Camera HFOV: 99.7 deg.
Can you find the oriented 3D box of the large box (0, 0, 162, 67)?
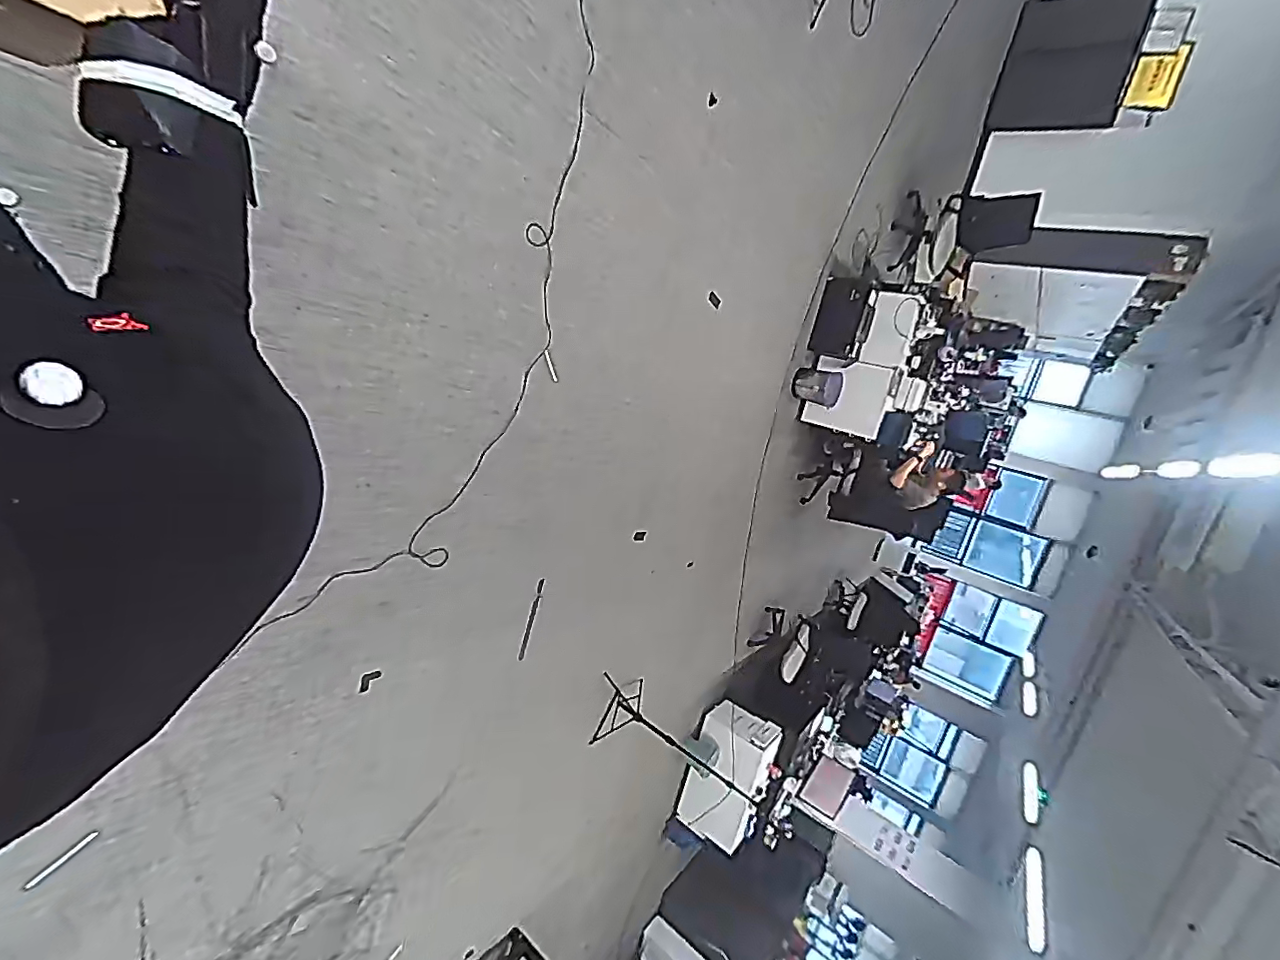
[{"bbox_3d":[-0.516,-0.457,0.234,0.408,0.320,0.320,-8,119,-57],"label":"large box"}]
